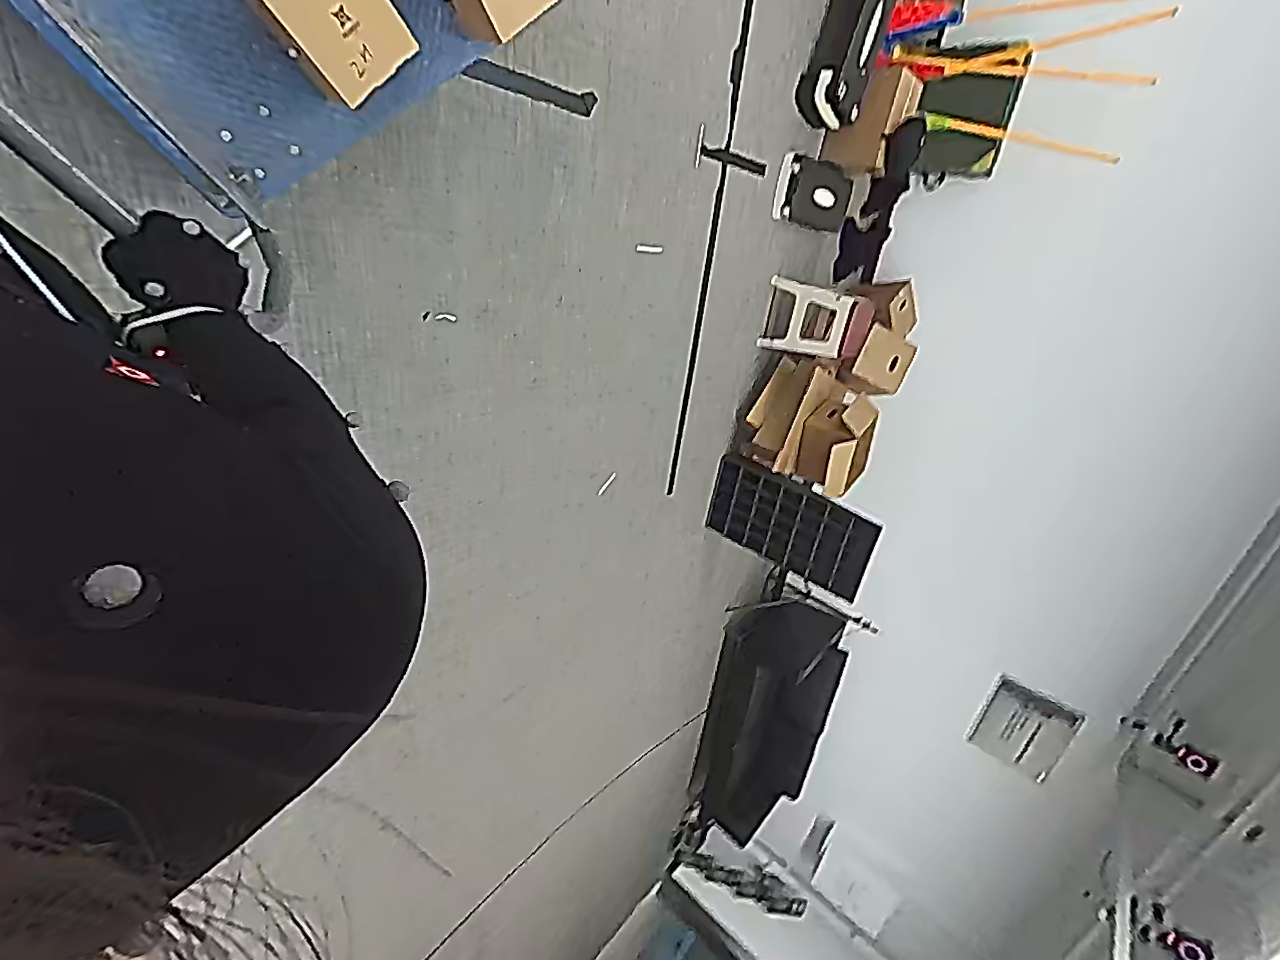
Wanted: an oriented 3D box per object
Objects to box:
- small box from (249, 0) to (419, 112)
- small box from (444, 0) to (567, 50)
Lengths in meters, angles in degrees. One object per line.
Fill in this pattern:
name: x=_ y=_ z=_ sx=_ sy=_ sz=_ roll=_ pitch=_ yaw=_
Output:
small box: x=-0.522 y=-0.770 z=0.921 sx=0.168 sy=0.176 sz=0.179 roll=-45 pitch=142 yaw=-4
small box: x=-0.271 y=-0.949 z=1.011 sx=0.179 sy=0.176 sz=0.168 roll=-43 pitch=142 yaw=-6
